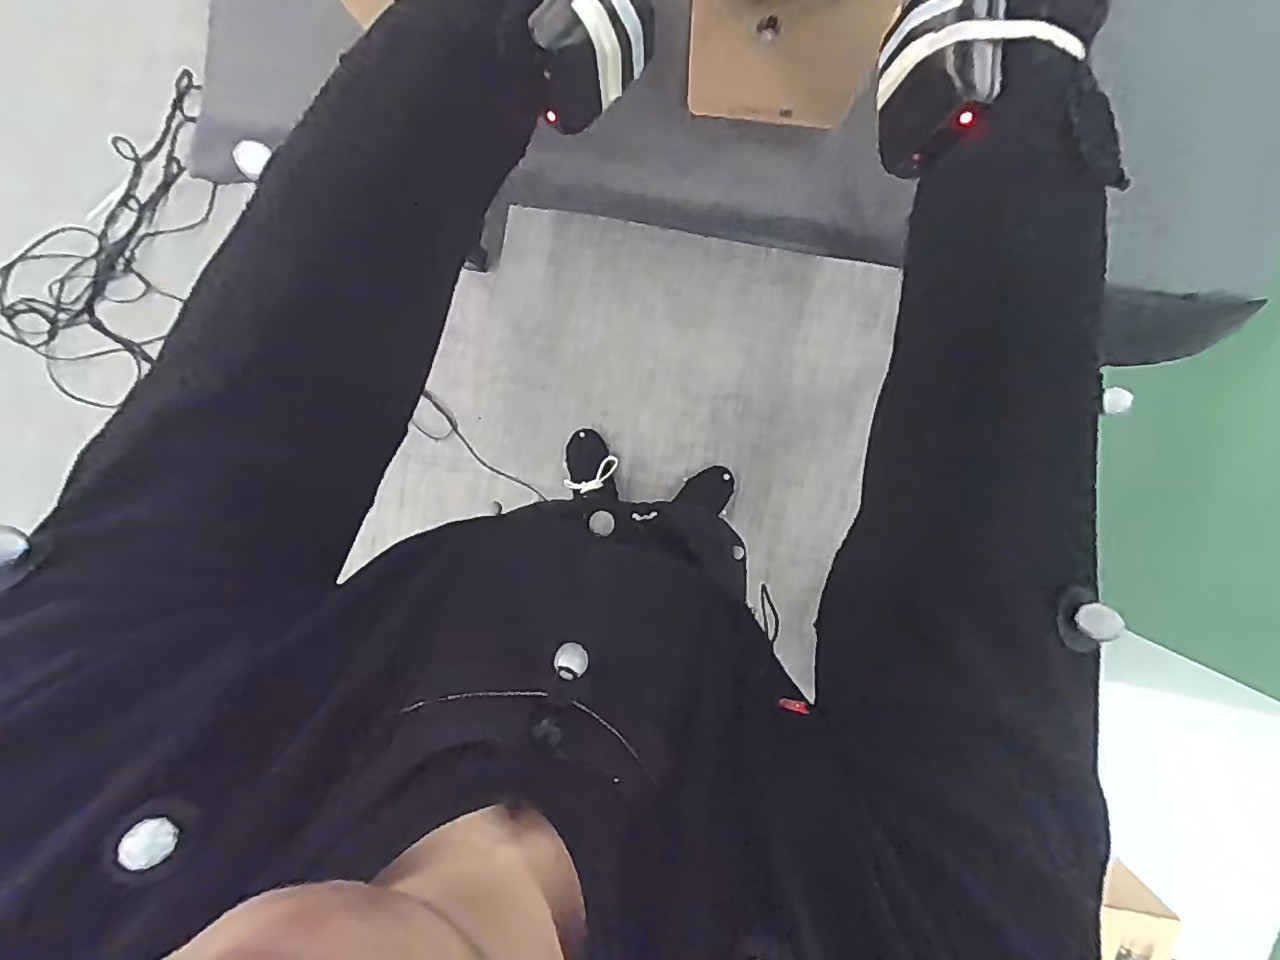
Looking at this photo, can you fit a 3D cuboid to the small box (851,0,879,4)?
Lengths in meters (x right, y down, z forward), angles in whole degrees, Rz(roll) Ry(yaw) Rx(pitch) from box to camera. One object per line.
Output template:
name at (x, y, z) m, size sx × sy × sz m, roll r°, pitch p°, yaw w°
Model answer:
small box at (0.127, -0.451, 0.332) m, size 0.168 × 0.176 × 0.179 m, roll 8°, pitch 97°, yaw 0°

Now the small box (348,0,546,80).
small box at (-0.183, -0.520, 0.509) m, size 0.168 × 0.176 × 0.179 m, roll 6°, pitch 97°, yaw 2°

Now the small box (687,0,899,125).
small box at (0.137, -0.472, 0.498) m, size 0.168 × 0.176 × 0.179 m, roll 8°, pitch 97°, yaw 2°
